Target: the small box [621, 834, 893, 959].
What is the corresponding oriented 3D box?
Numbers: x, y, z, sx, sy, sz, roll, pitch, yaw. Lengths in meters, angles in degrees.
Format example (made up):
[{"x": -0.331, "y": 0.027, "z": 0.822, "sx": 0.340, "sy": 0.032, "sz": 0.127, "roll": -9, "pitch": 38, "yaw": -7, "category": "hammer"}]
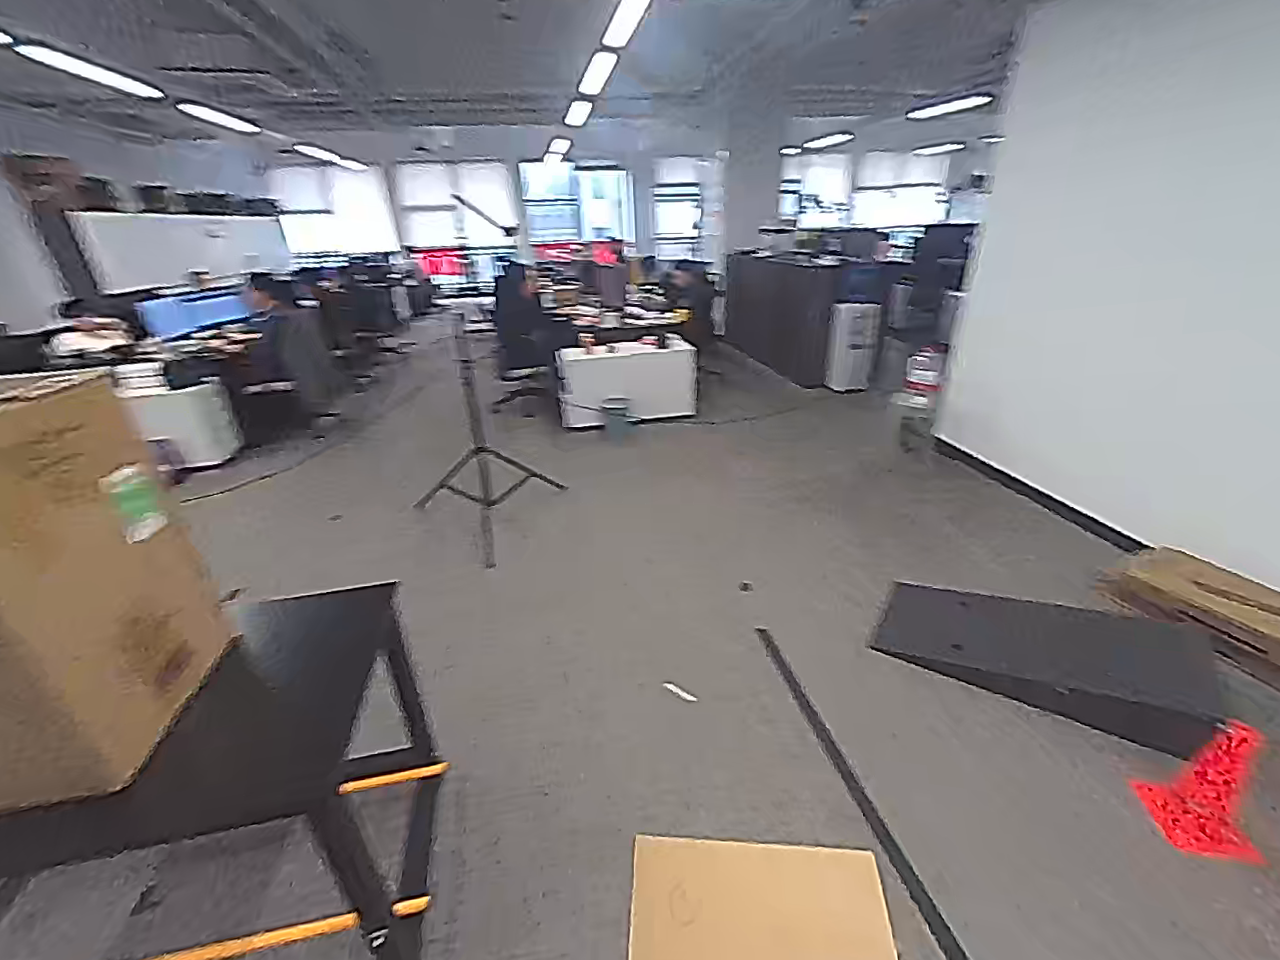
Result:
[{"x": 0.067, "y": 0.363, "z": 0.355, "sx": 0.168, "sy": 0.176, "sz": 0.179, "roll": 1, "pitch": 41, "yaw": 2, "category": "small box"}]
